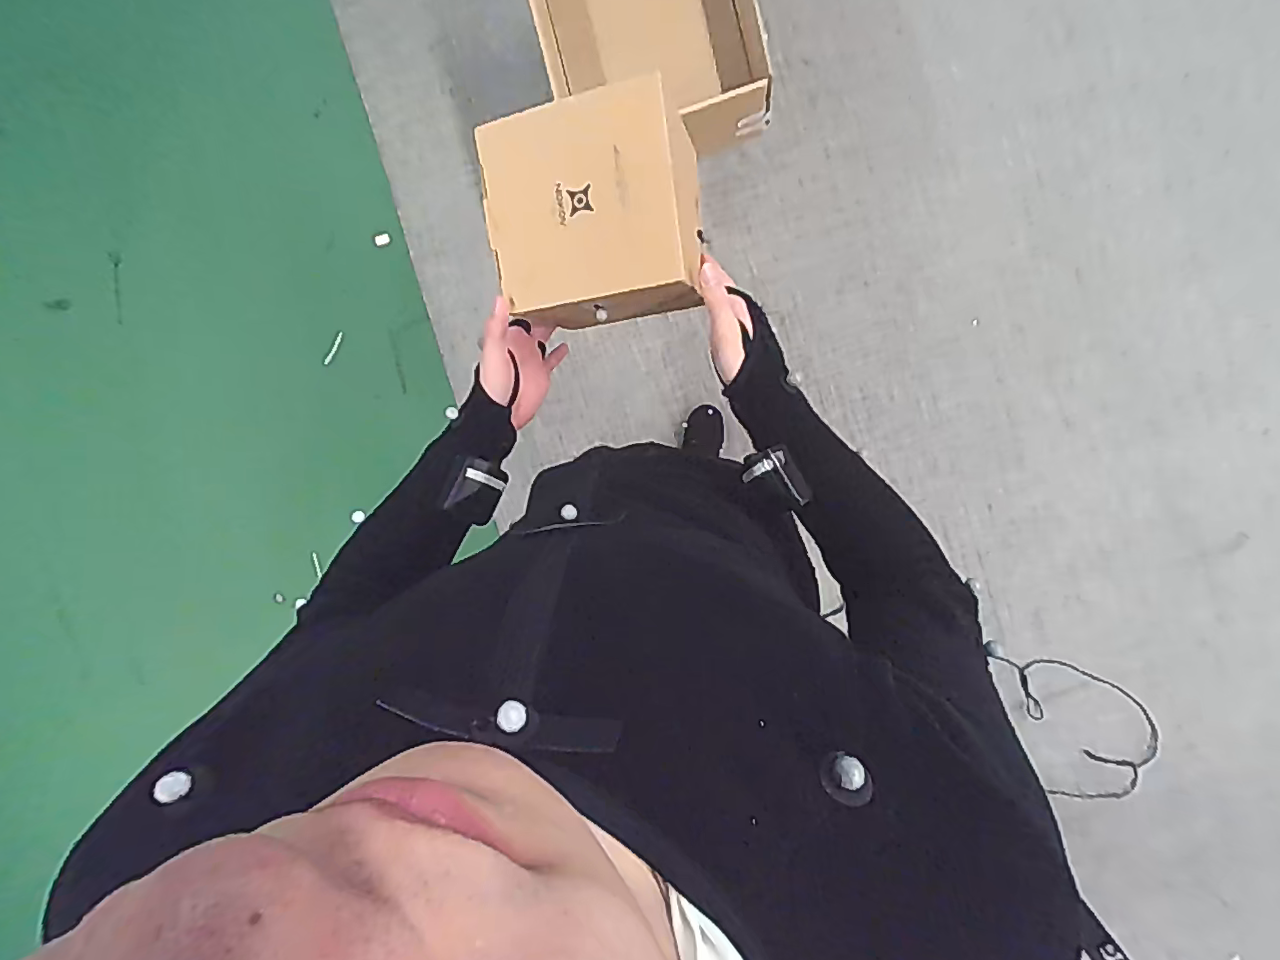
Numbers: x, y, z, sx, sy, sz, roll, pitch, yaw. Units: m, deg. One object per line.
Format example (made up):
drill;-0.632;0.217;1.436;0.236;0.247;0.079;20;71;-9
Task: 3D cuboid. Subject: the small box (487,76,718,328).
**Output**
small box;-0.024;-0.254;0.545;0.179;0.176;0.168;-5;100;16
